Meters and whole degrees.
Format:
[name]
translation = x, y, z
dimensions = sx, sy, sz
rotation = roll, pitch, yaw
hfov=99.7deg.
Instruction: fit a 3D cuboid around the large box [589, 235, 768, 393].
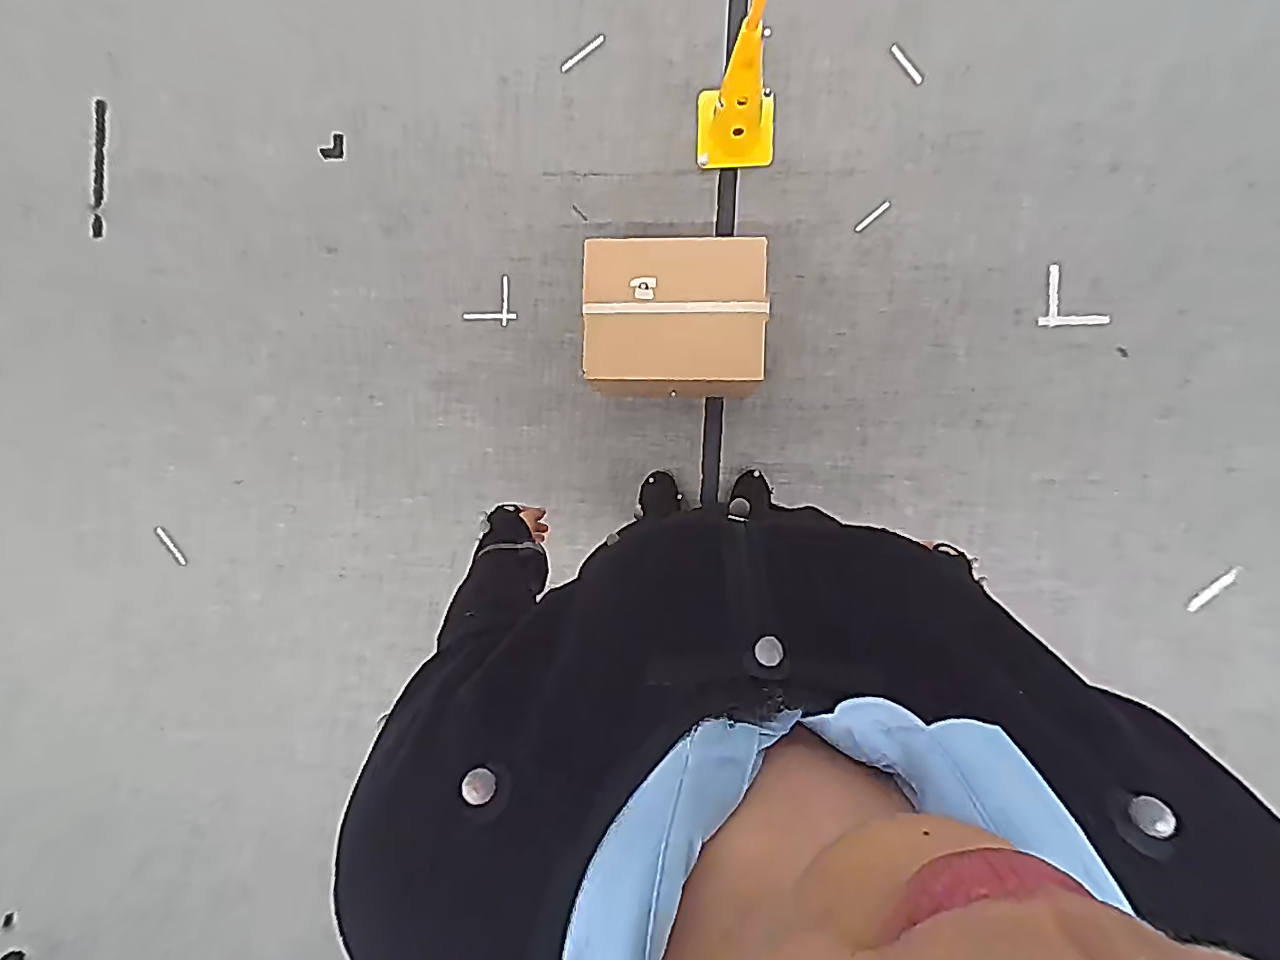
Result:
[large box]
translation = 0.099, -0.387, 1.349
dimensions = 0.408, 0.320, 0.320
rotation = 1, 91, 6
